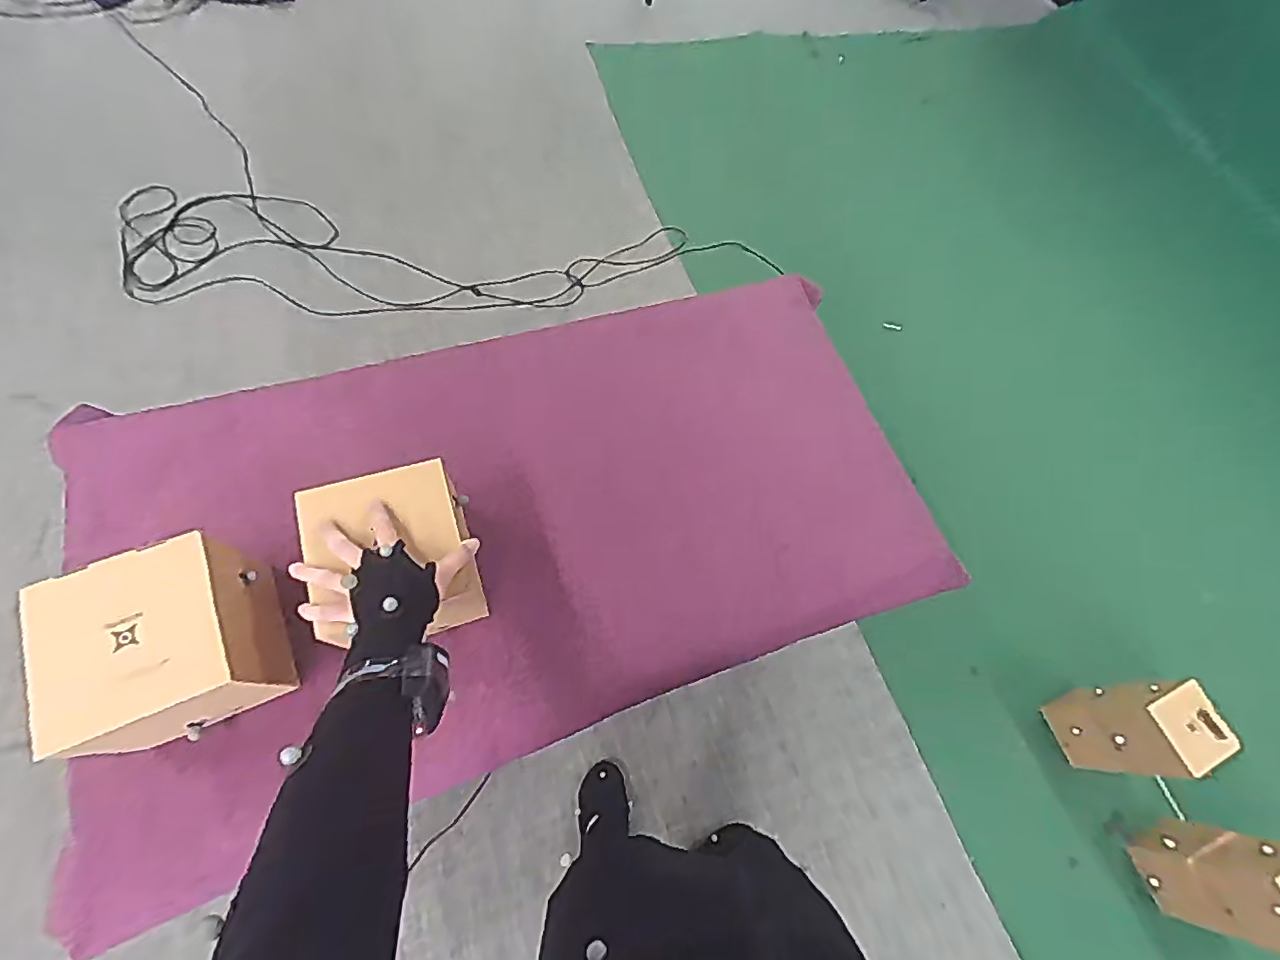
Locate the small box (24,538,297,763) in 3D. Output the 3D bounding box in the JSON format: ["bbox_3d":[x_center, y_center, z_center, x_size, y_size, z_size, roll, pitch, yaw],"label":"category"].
[{"bbox_3d":[-0.527,0.194,0.616,0.168,0.176,0.179,-21,72,-16],"label":"small box"}]

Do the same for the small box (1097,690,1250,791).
[{"bbox_3d":[1.289,0.628,1.321,0.179,0.176,0.168,-18,70,-14],"label":"small box"}]

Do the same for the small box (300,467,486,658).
[{"bbox_3d":[-0.302,0.110,0.686,0.168,0.176,0.179,-15,70,-15],"label":"small box"}]

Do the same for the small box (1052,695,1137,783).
[{"bbox_3d":[1.276,0.700,1.469,0.179,0.176,0.168,-15,69,-15],"label":"small box"}]
